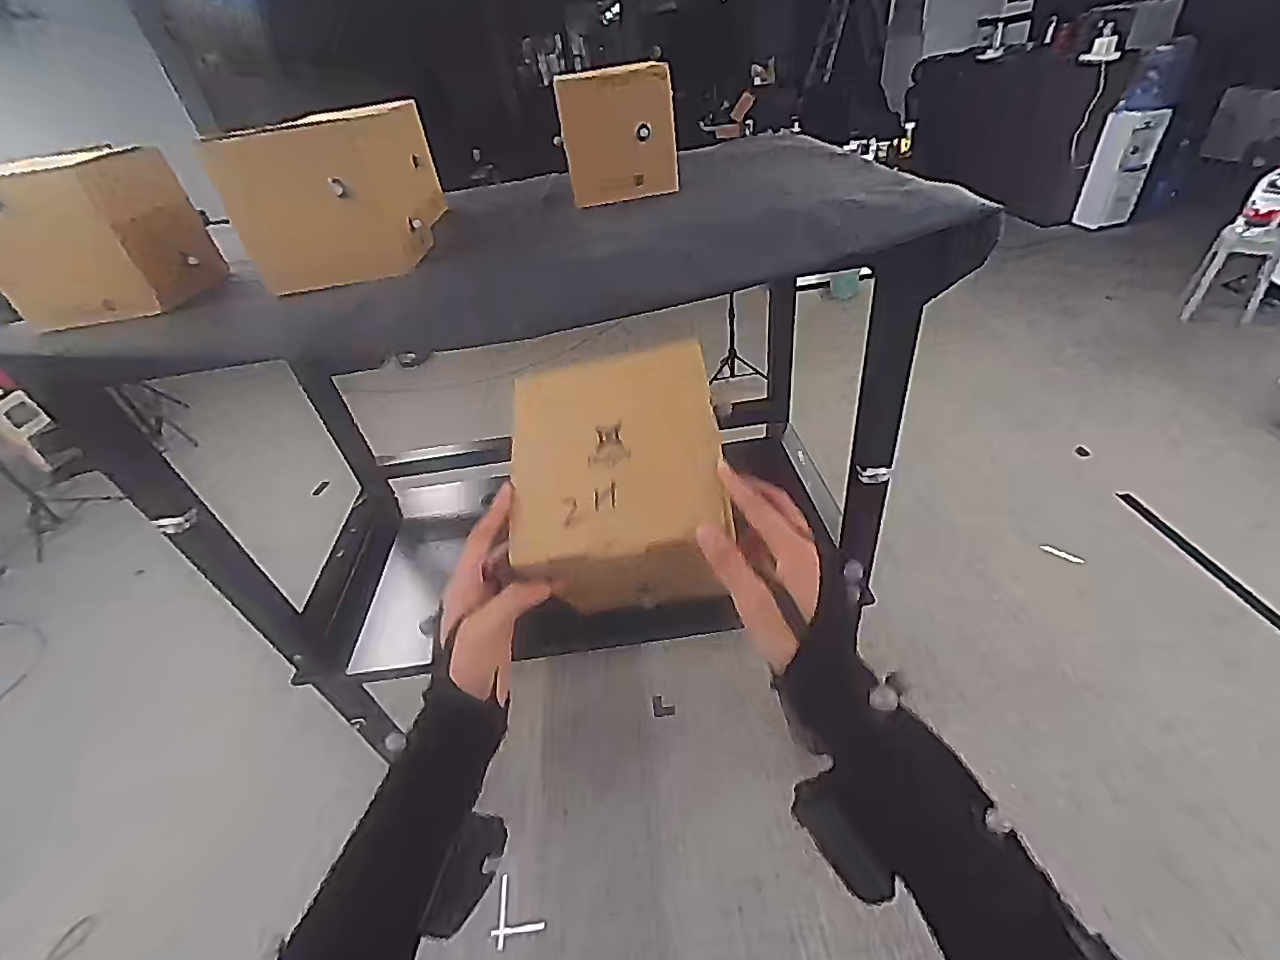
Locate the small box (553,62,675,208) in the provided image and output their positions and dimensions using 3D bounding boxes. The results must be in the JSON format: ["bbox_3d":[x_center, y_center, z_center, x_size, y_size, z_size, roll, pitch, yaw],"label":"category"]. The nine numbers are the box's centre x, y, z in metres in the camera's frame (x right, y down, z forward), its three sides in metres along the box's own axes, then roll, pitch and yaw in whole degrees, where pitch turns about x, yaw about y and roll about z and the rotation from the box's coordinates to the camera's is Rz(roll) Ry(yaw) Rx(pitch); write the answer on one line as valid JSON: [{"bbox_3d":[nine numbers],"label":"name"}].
[{"bbox_3d":[-0.040,-0.549,0.867,0.168,0.176,0.179,-9,39,-1],"label":"small box"}]

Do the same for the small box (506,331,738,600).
[{"bbox_3d":[-0.008,-0.001,0.494,0.168,0.176,0.179,-10,65,11],"label":"small box"}]

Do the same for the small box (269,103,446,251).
[{"bbox_3d":[-0.437,-0.489,0.876,0.179,0.176,0.168,-8,39,2],"label":"small box"}]

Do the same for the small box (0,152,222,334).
[{"bbox_3d":[-0.691,-0.306,0.695,0.168,0.176,0.179,-10,38,-1],"label":"small box"}]
